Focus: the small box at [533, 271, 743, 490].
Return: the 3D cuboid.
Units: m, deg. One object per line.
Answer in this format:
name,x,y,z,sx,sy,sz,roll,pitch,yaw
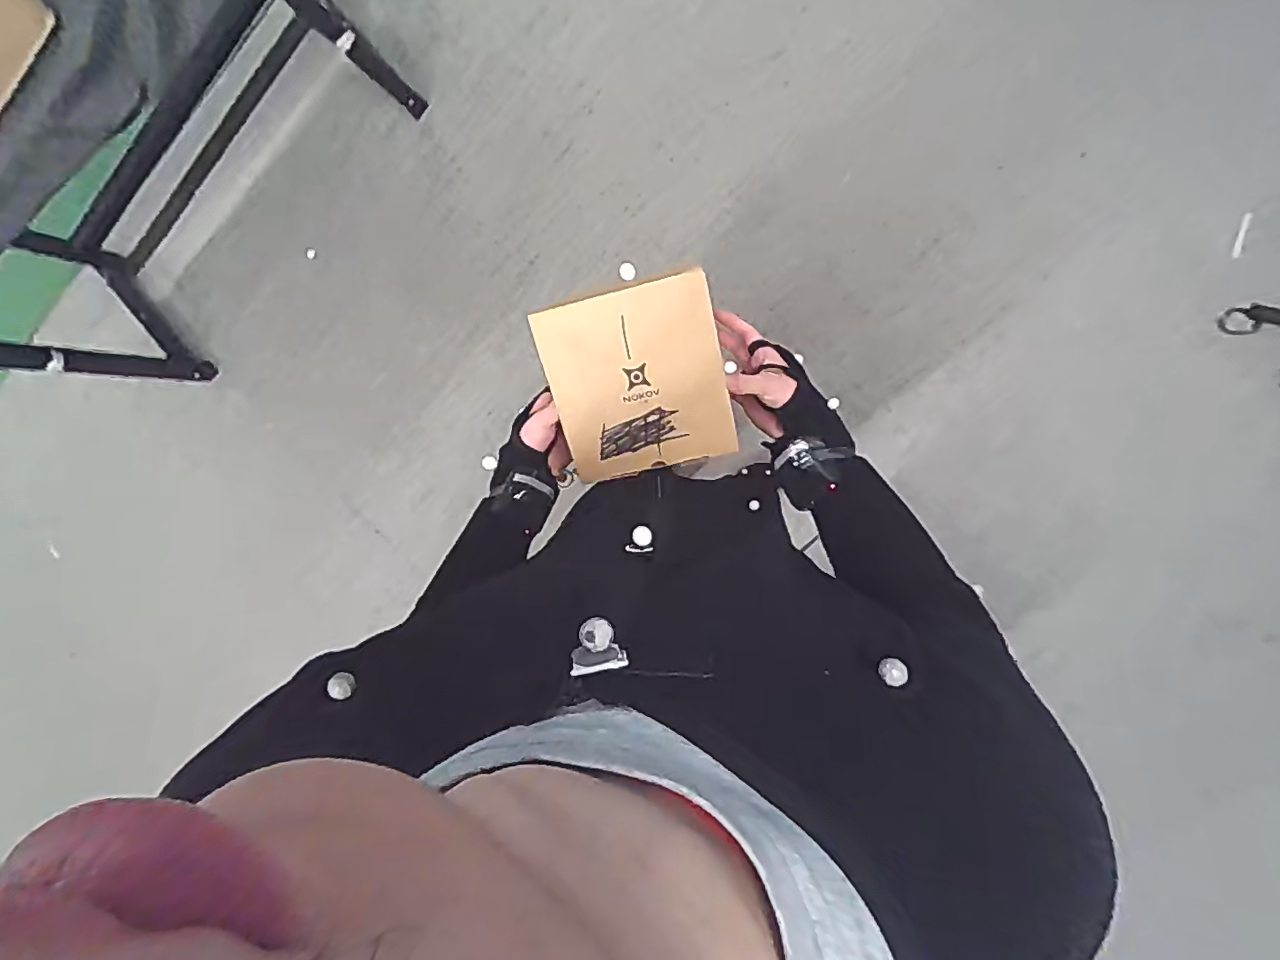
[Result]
small box,0.008,-0.114,0.582,0.168,0.176,0.179,-14,110,9
